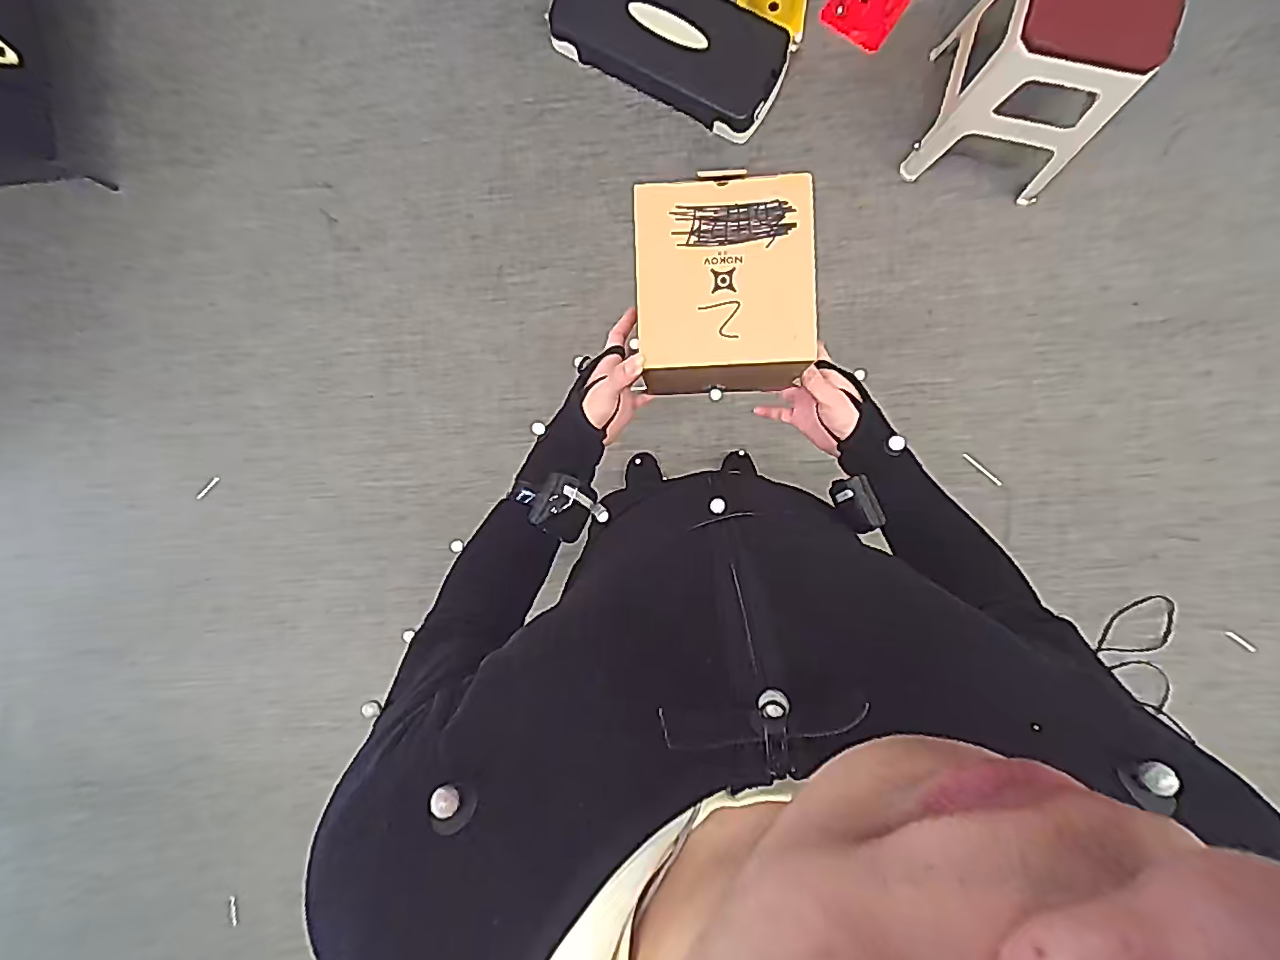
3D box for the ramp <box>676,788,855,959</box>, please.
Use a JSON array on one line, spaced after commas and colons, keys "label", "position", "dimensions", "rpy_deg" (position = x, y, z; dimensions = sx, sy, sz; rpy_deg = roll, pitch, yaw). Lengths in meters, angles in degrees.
[{"label": "ramp", "position": [0.380, 1.441, 1.574], "dimensions": [0.509, 0.206, 0.991], "rpy_deg": [-6, 91, 5]}]
